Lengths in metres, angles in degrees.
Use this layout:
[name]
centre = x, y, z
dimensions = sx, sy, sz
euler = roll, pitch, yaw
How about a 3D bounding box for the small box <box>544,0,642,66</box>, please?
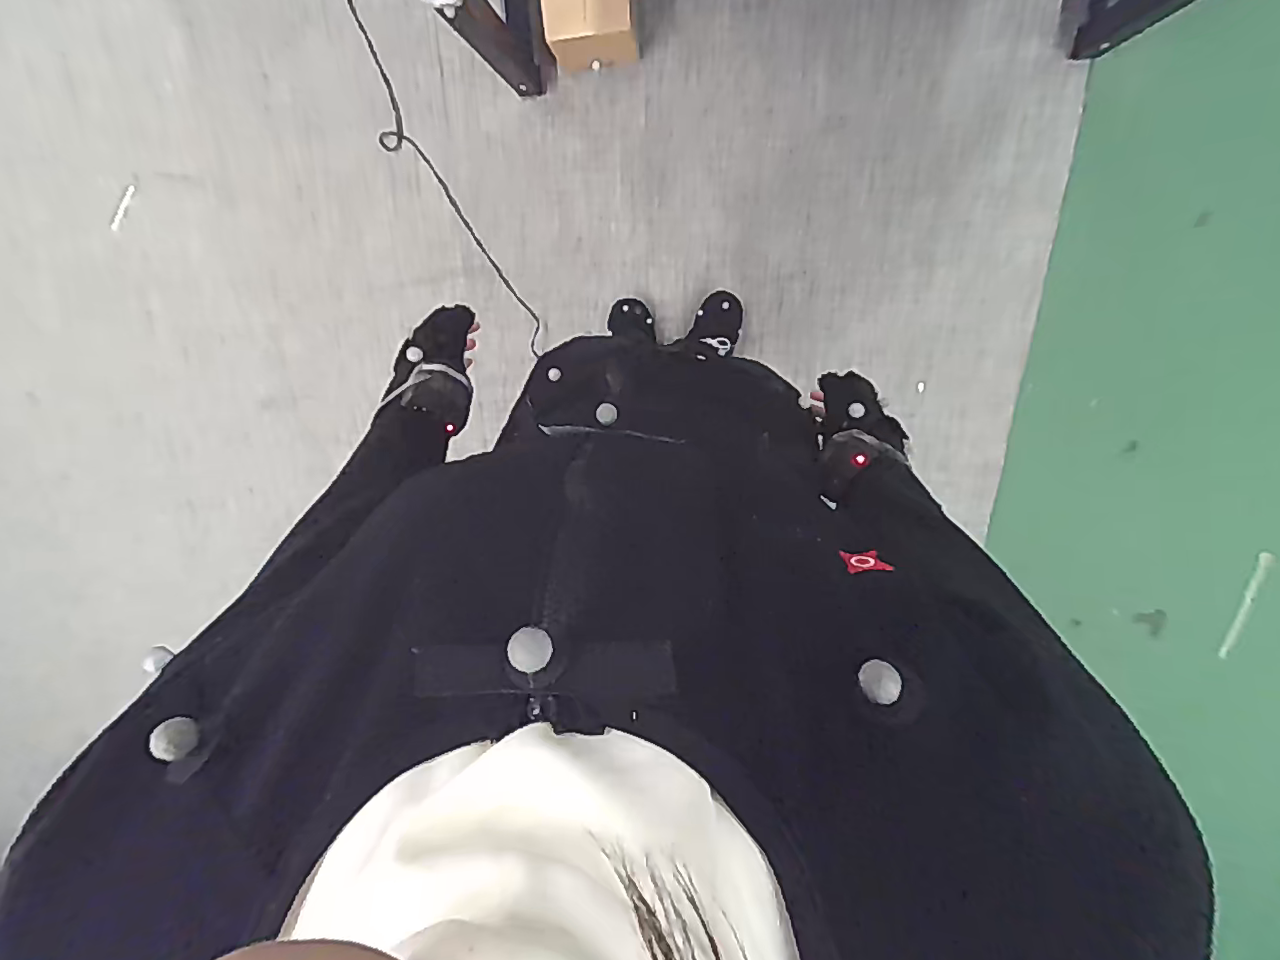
[small box]
centre = -0.090, -0.948, 1.050
dimensions = 0.168, 0.176, 0.179
euler = -3, 111, 8
